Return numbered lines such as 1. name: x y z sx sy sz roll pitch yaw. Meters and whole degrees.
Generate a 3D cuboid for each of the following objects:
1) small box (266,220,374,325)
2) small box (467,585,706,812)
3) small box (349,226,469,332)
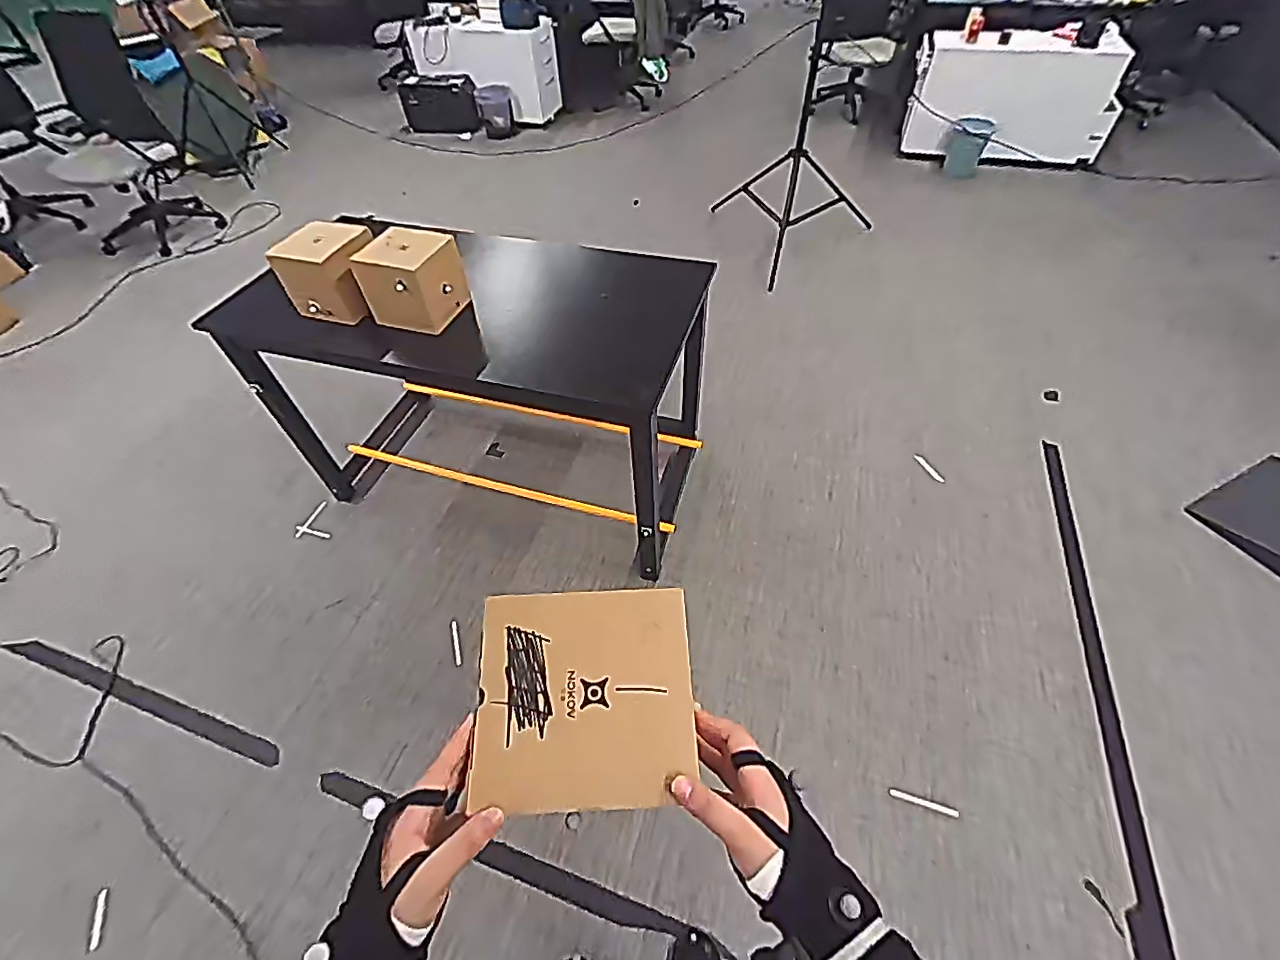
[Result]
1. small box: -0.749 -0.508 1.324 0.168 0.176 0.179 11 53 13
2. small box: -0.041 0.204 0.496 0.179 0.176 0.168 -2 61 -2
3. small box: -0.536 -0.473 1.283 0.179 0.176 0.168 13 52 14
